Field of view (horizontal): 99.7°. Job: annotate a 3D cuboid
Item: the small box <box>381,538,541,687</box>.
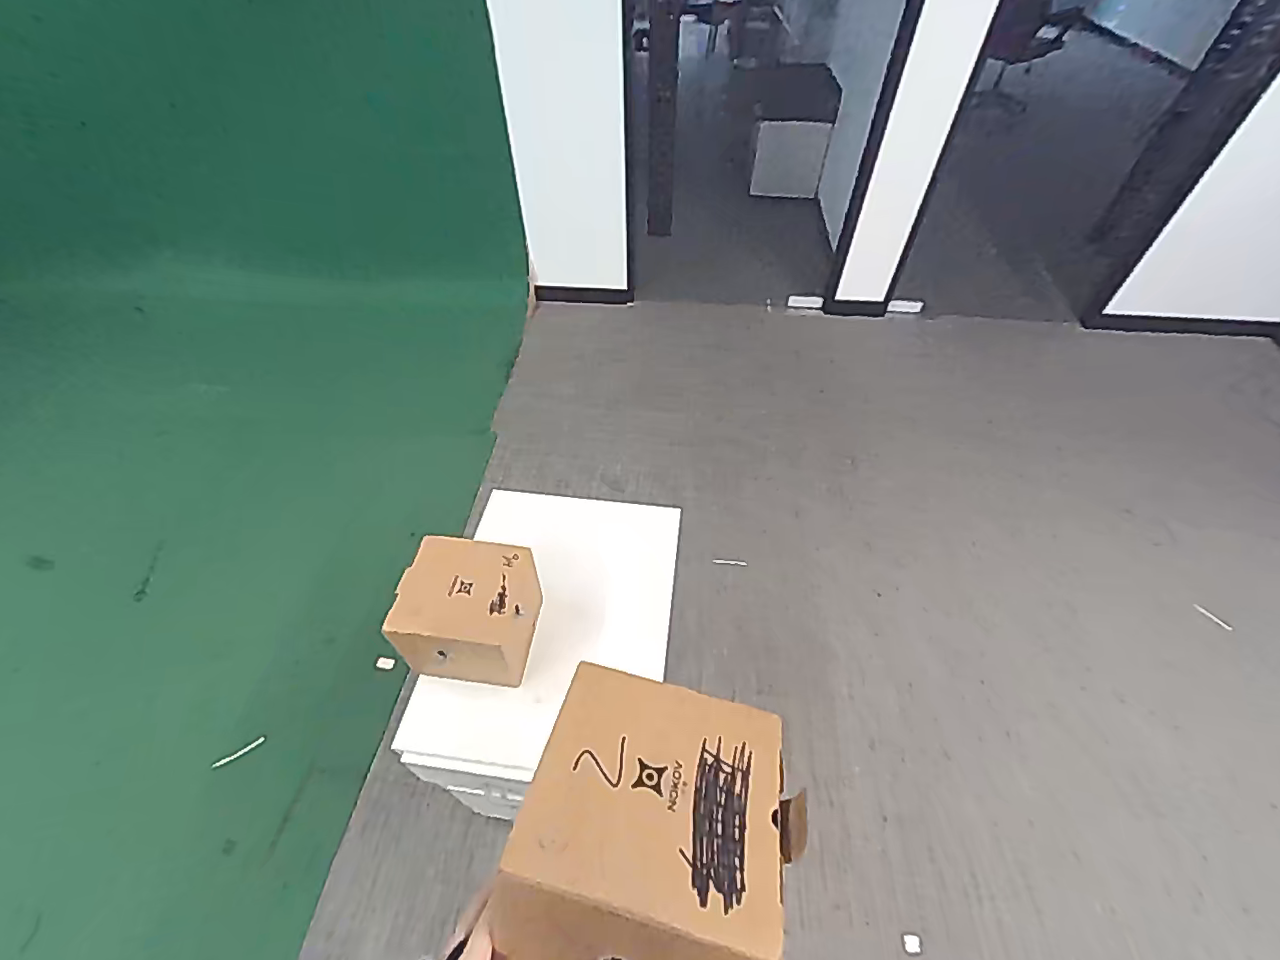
[{"bbox_3d":[-0.269,0.214,0.861,0.179,0.176,0.168,6,50,4],"label":"small box"}]
